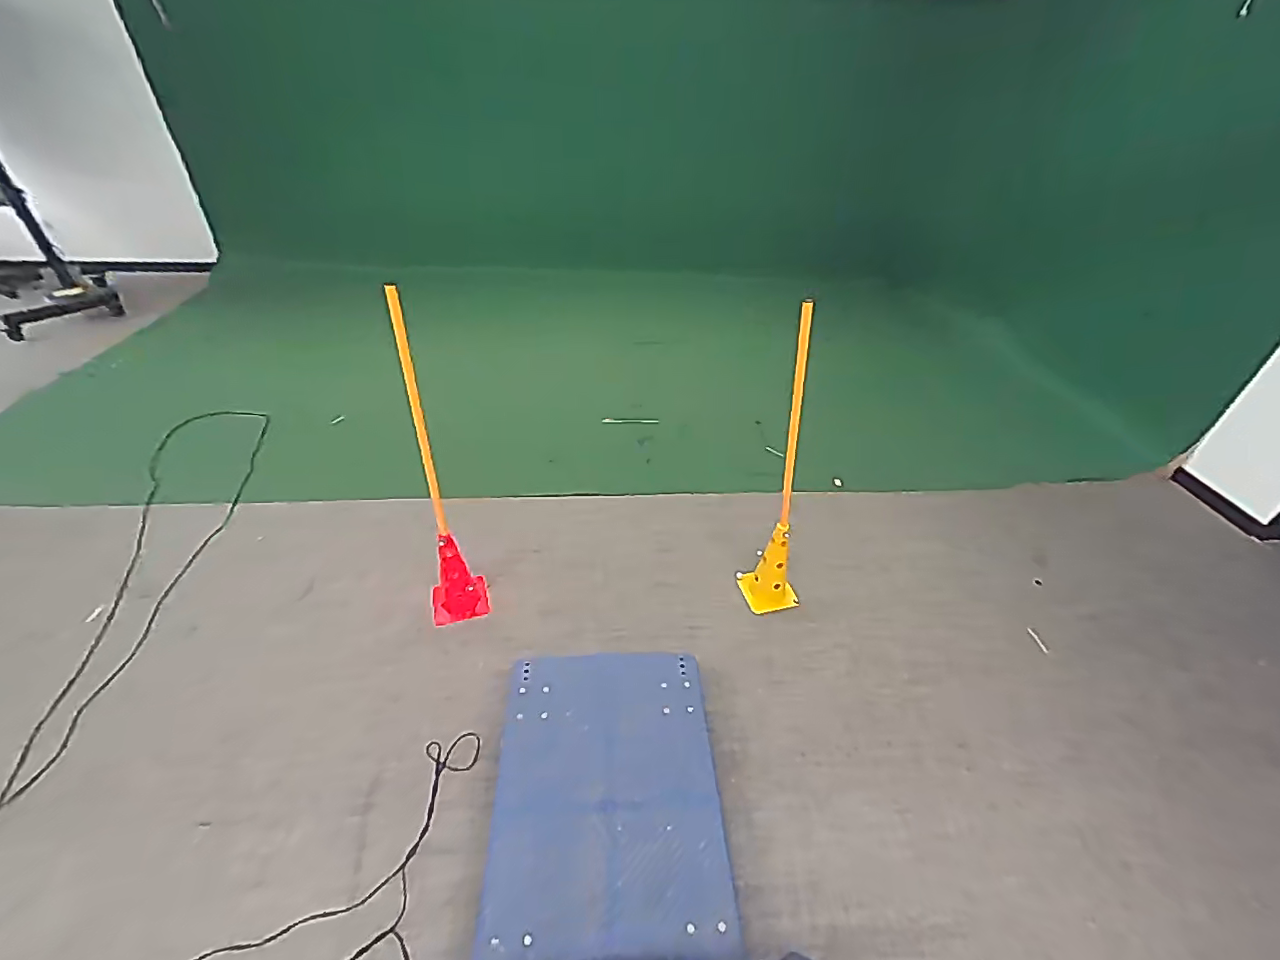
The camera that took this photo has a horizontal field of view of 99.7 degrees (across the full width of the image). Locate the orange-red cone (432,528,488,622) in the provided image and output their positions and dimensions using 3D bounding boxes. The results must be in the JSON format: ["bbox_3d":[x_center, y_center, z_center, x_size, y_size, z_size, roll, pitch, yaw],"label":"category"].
[{"bbox_3d":[-0.678,0.312,1.936,0.199,0.360,0.198,-11,40,-15],"label":"orange-red cone"}]
